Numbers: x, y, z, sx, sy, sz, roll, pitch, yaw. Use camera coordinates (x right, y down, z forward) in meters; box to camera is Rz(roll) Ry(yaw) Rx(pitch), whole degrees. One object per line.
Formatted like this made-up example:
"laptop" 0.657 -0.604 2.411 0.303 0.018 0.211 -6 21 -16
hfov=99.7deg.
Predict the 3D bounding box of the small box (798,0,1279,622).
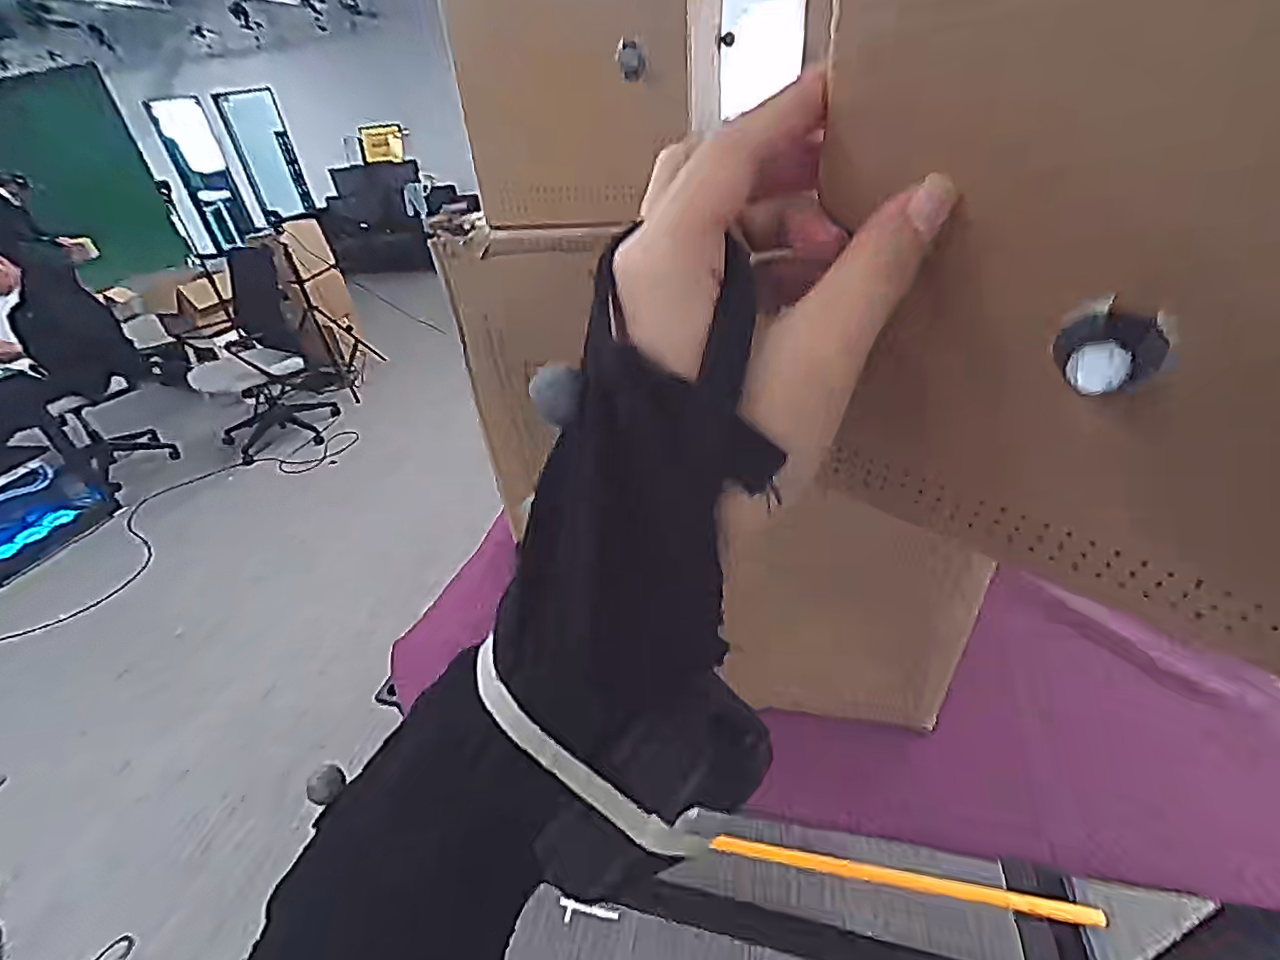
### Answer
"small box" 0.167 -0.083 0.166 0.179 0.176 0.168 26 58 31
